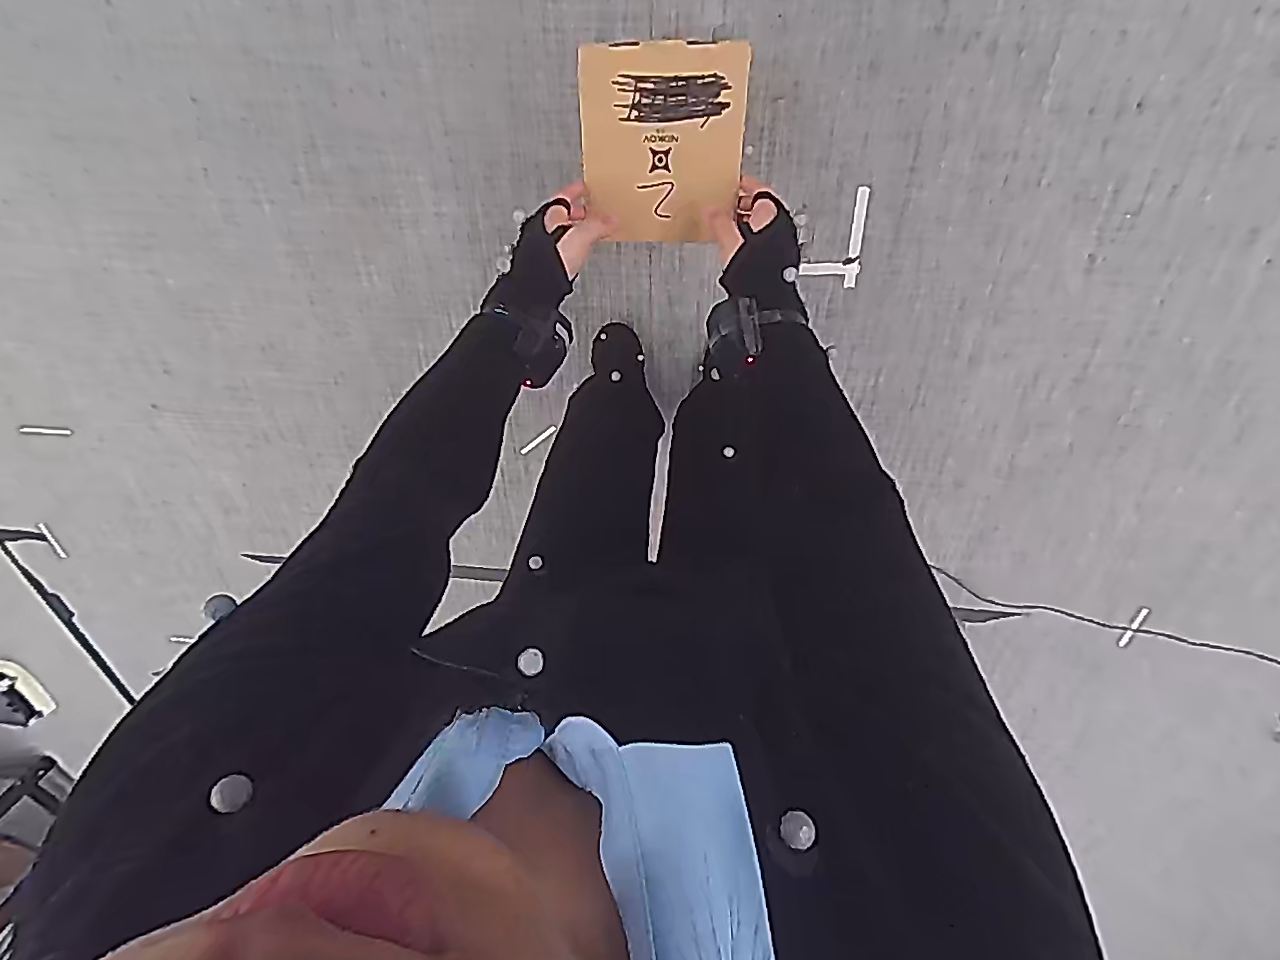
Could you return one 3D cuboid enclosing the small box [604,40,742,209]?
[{"bbox_3d":[0.042,-0.479,0.743,0.168,0.176,0.179,4,122,4],"label":"small box"}]
